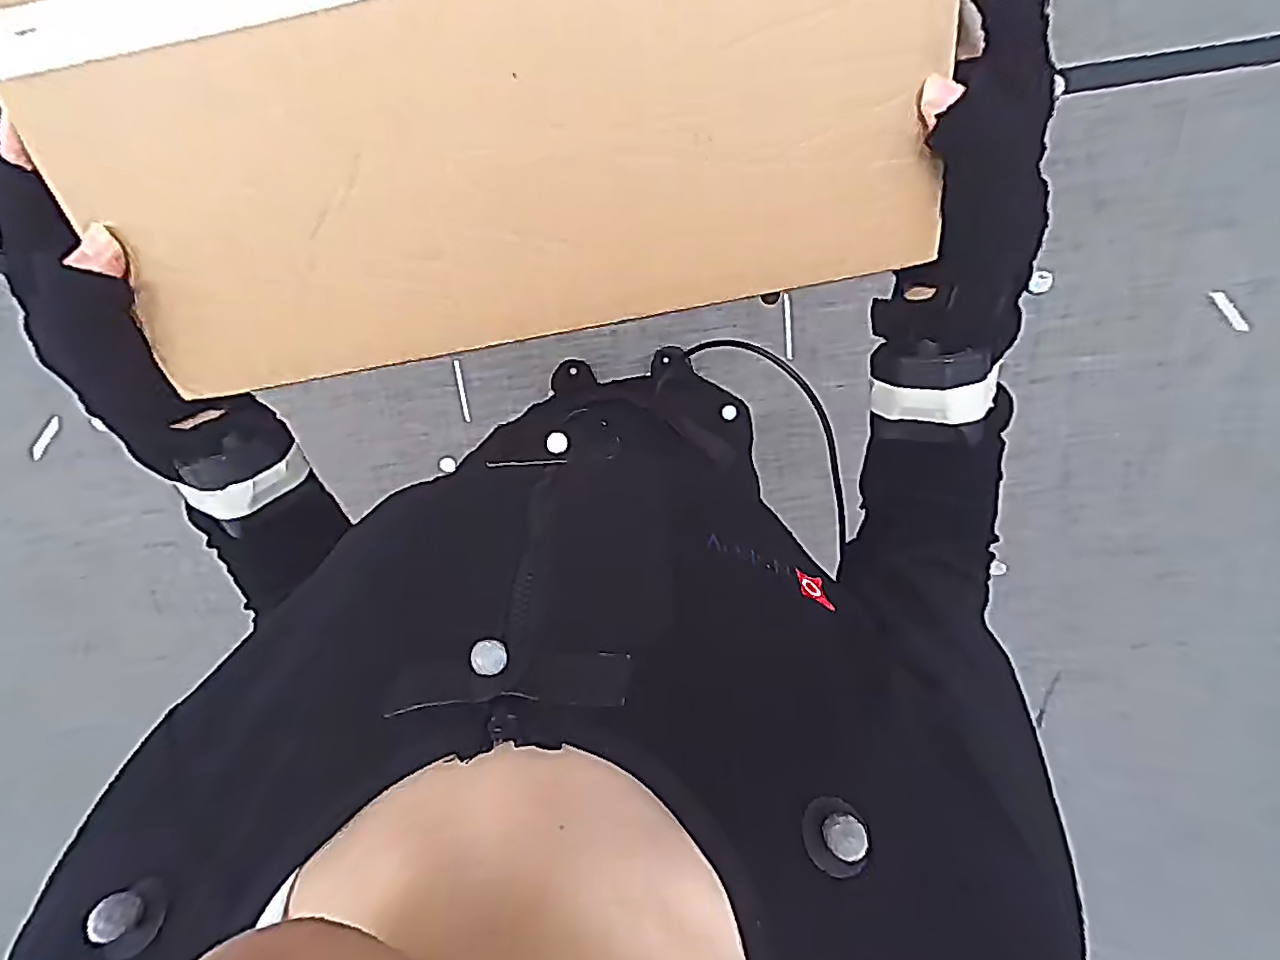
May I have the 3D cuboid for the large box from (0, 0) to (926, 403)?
[{"bbox_3d":[-0.080,-0.281,0.357,0.408,0.320,0.320,-10,117,4],"label":"large box"}]
